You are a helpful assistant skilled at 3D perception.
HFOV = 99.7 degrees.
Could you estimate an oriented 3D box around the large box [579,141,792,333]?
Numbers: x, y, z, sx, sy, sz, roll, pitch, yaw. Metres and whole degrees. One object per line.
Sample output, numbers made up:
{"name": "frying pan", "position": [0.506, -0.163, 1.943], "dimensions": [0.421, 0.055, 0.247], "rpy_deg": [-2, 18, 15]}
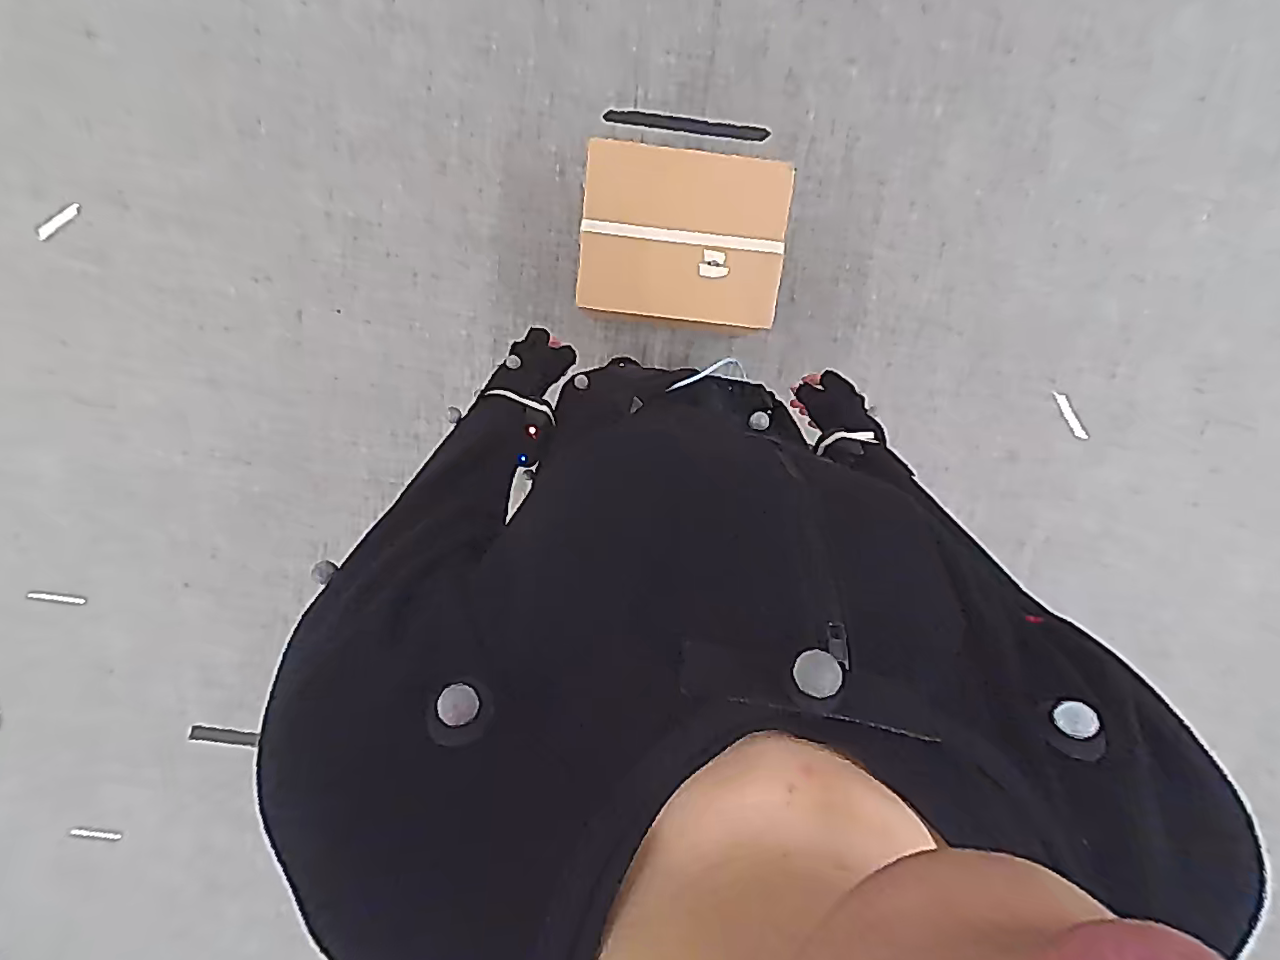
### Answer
{"name": "large box", "position": [0.082, -0.518, 1.224], "dimensions": [0.408, 0.320, 0.320], "rpy_deg": [6, 103, -3]}
